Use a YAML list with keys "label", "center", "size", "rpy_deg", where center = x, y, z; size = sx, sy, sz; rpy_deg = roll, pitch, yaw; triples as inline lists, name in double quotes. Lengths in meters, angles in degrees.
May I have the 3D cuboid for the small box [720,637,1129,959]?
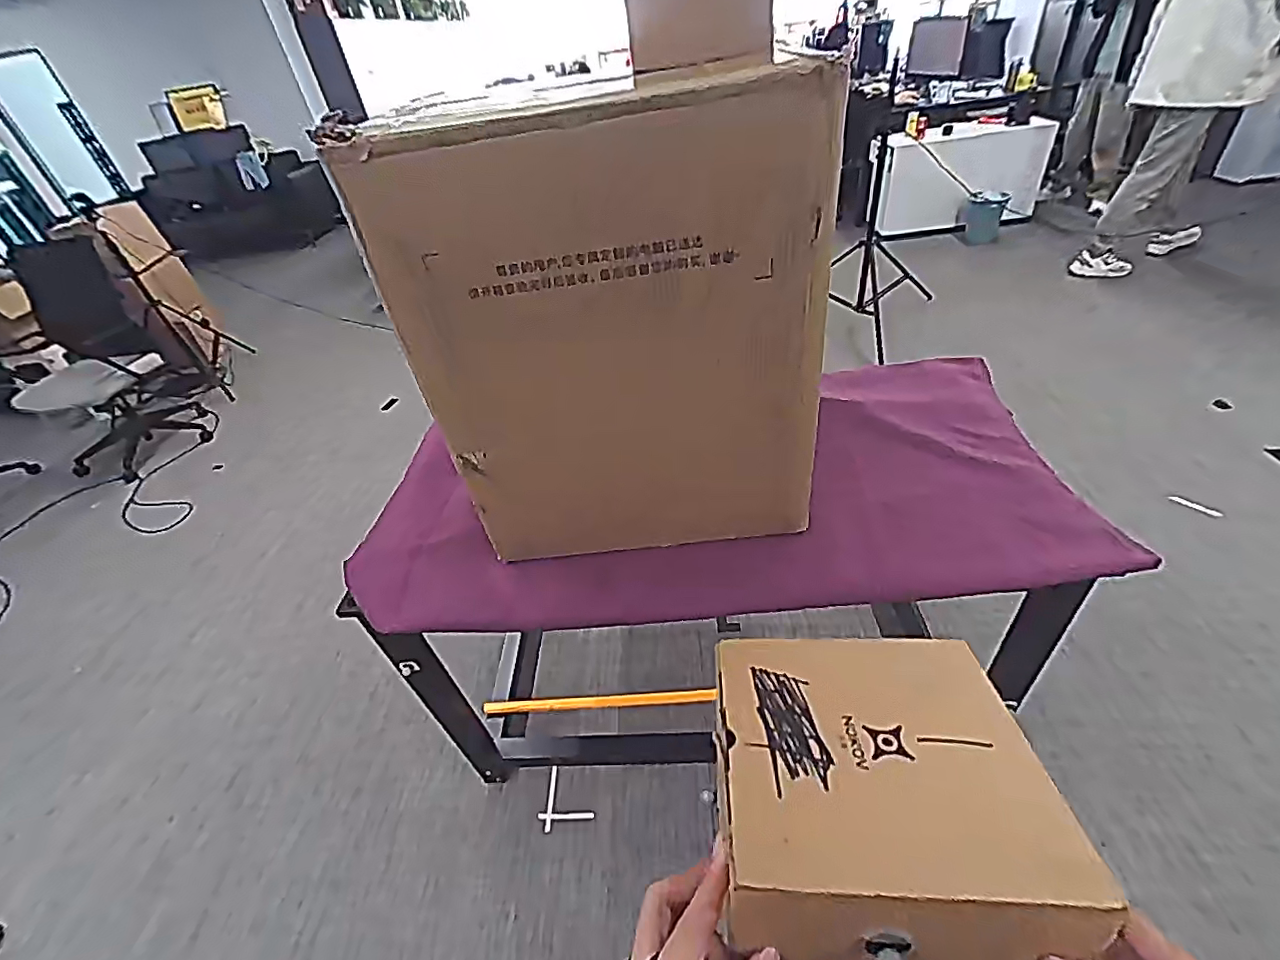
- label: "small box"
  center: [0.146, 0.223, 0.352]
  size: [0.179, 0.176, 0.168]
  rpy_deg: [-2, 27, 6]
